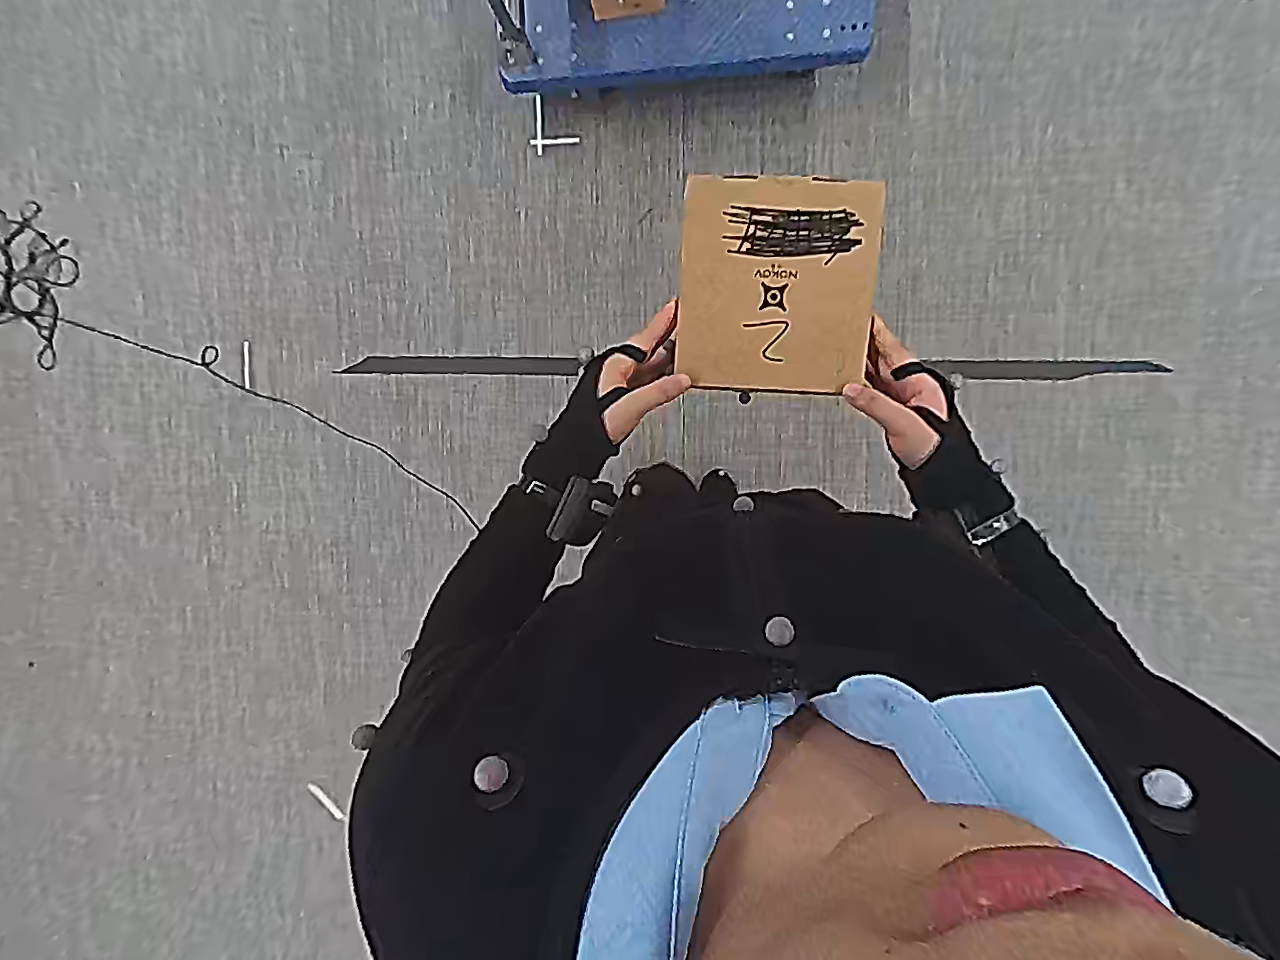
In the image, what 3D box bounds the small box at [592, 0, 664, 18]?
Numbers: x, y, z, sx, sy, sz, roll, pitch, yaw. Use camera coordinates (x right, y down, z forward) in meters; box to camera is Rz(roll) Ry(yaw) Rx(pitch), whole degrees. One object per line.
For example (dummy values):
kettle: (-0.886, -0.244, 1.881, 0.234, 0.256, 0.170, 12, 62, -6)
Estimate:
small box: (-0.038, -1.154, 1.160, 0.168, 0.176, 0.179, -5, 94, 5)
